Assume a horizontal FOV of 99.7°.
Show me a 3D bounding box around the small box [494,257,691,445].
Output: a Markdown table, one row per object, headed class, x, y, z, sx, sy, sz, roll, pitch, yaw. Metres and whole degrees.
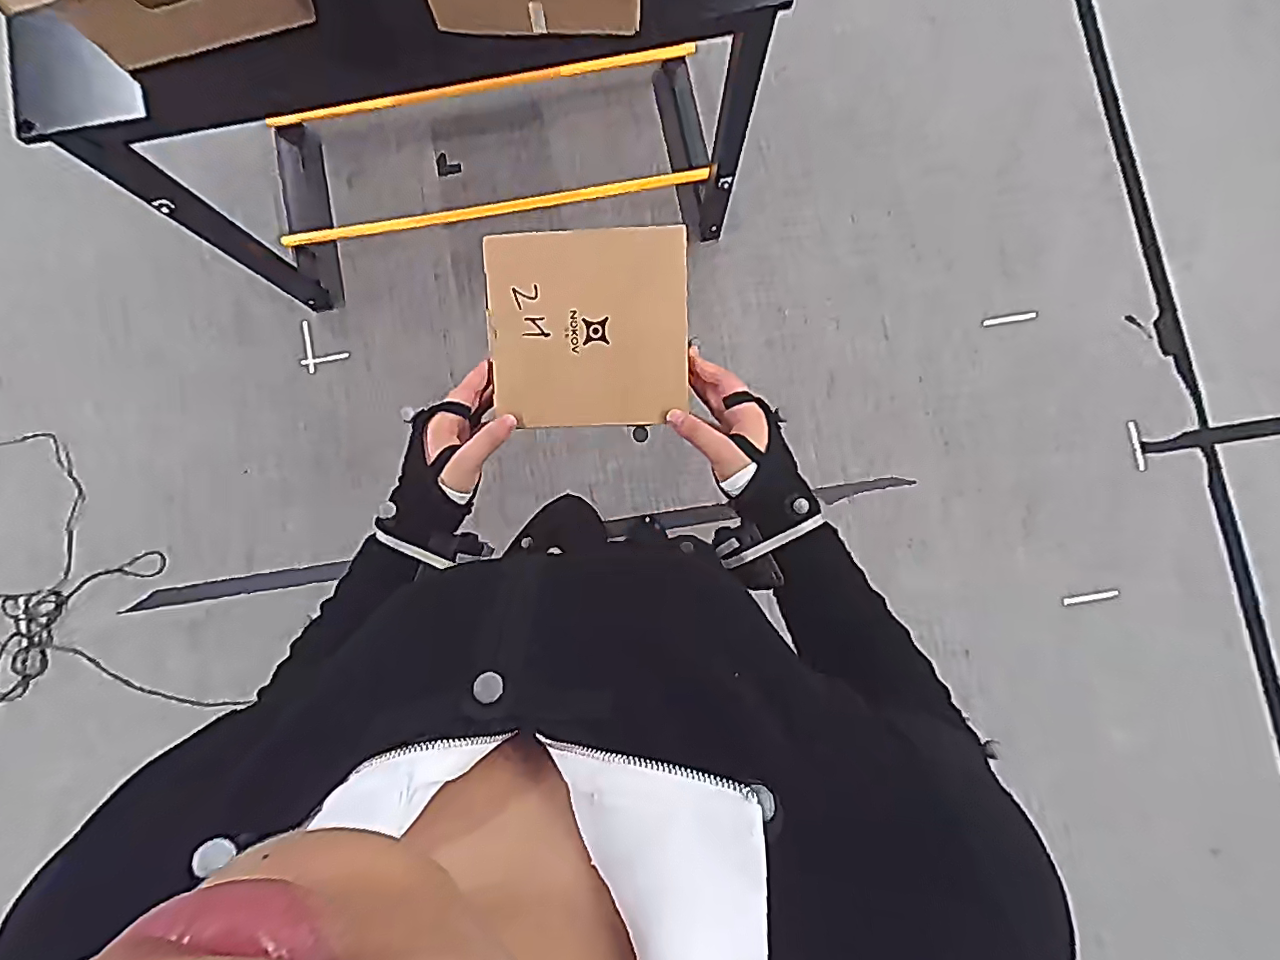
| class | x | y | z | sx | sy | sz | roll | pitch | yaw |
| --- | --- | --- | --- | --- | --- | --- | --- | --- | --- |
| small box | -0.038 | -0.125 | 0.564 | 0.179 | 0.176 | 0.168 | -1 | 97 | 4 |
